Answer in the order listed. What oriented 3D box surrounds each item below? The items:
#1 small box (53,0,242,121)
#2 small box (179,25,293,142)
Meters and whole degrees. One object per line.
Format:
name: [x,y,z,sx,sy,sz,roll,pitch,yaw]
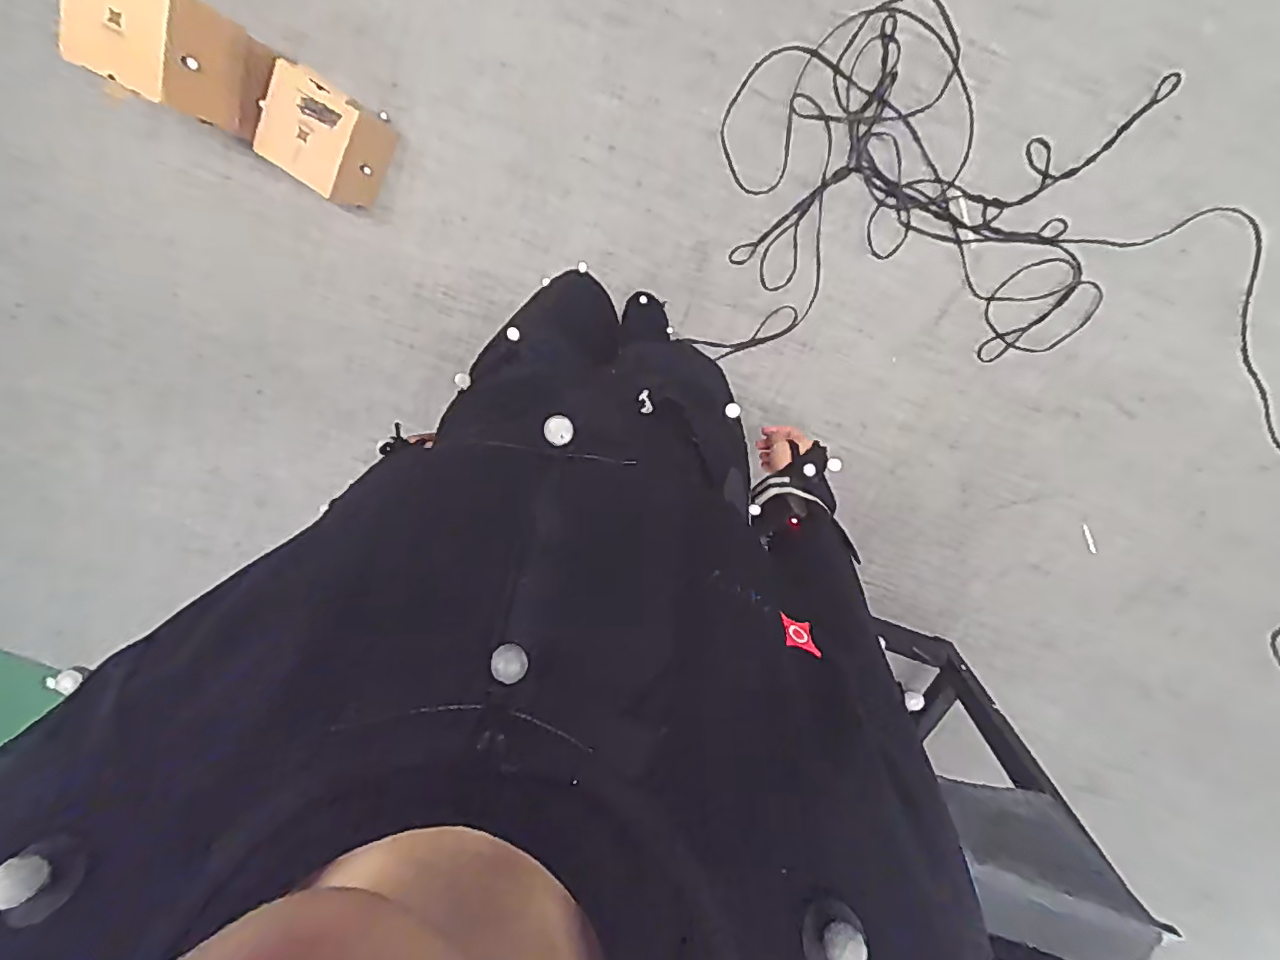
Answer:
small box: [-0.816,-0.749,0.910,0.168,0.176,0.179,24,112,-6]
small box: [-0.823,-0.803,1.065,0.168,0.176,0.179,24,112,-6]
